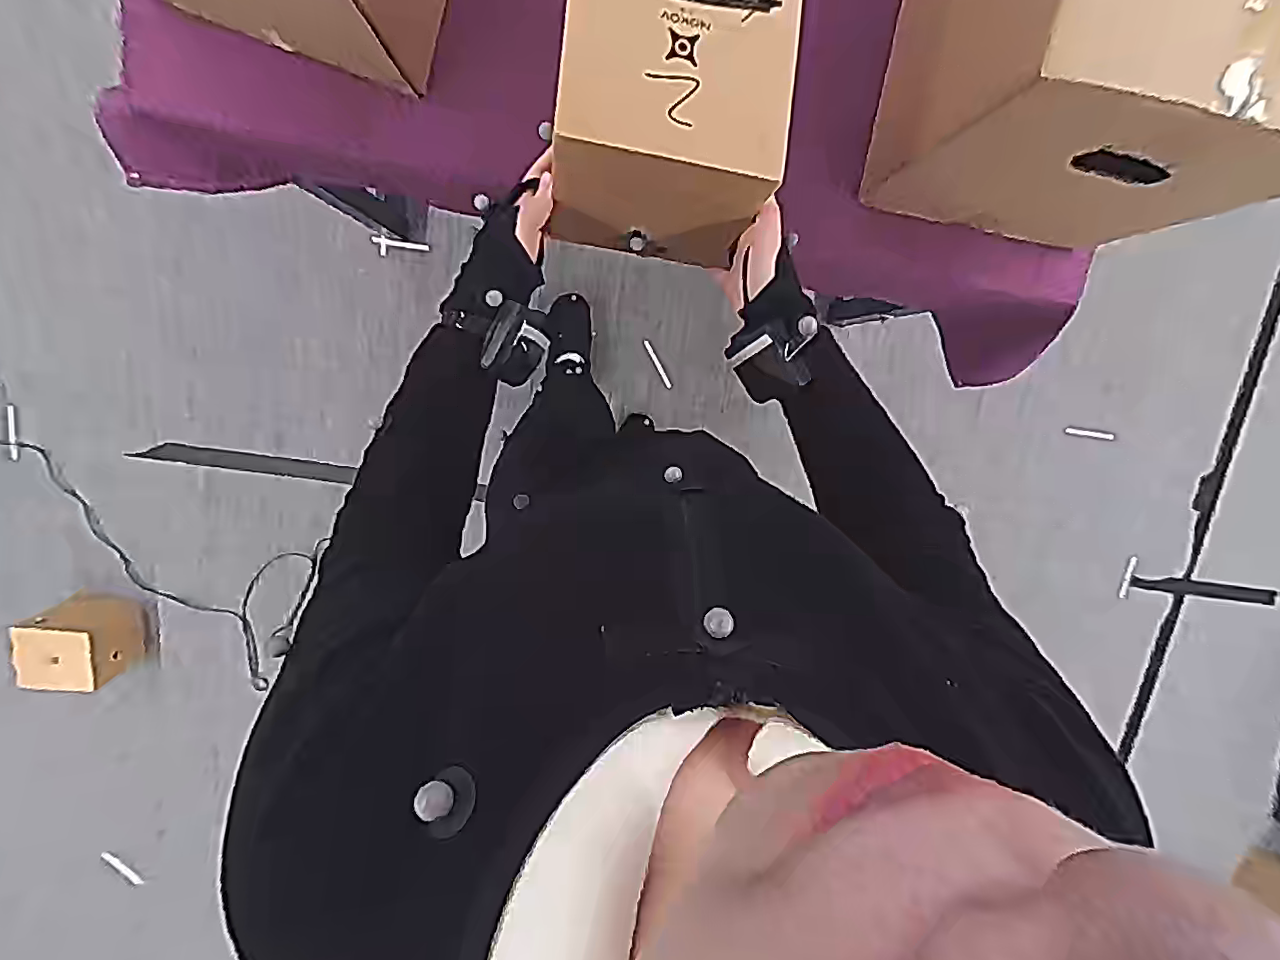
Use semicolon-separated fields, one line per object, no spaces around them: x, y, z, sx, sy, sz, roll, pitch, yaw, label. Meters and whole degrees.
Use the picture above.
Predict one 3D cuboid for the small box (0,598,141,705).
-1.440;0.431;1.360;0.168;0.176;0.179;9;121;13;small box
